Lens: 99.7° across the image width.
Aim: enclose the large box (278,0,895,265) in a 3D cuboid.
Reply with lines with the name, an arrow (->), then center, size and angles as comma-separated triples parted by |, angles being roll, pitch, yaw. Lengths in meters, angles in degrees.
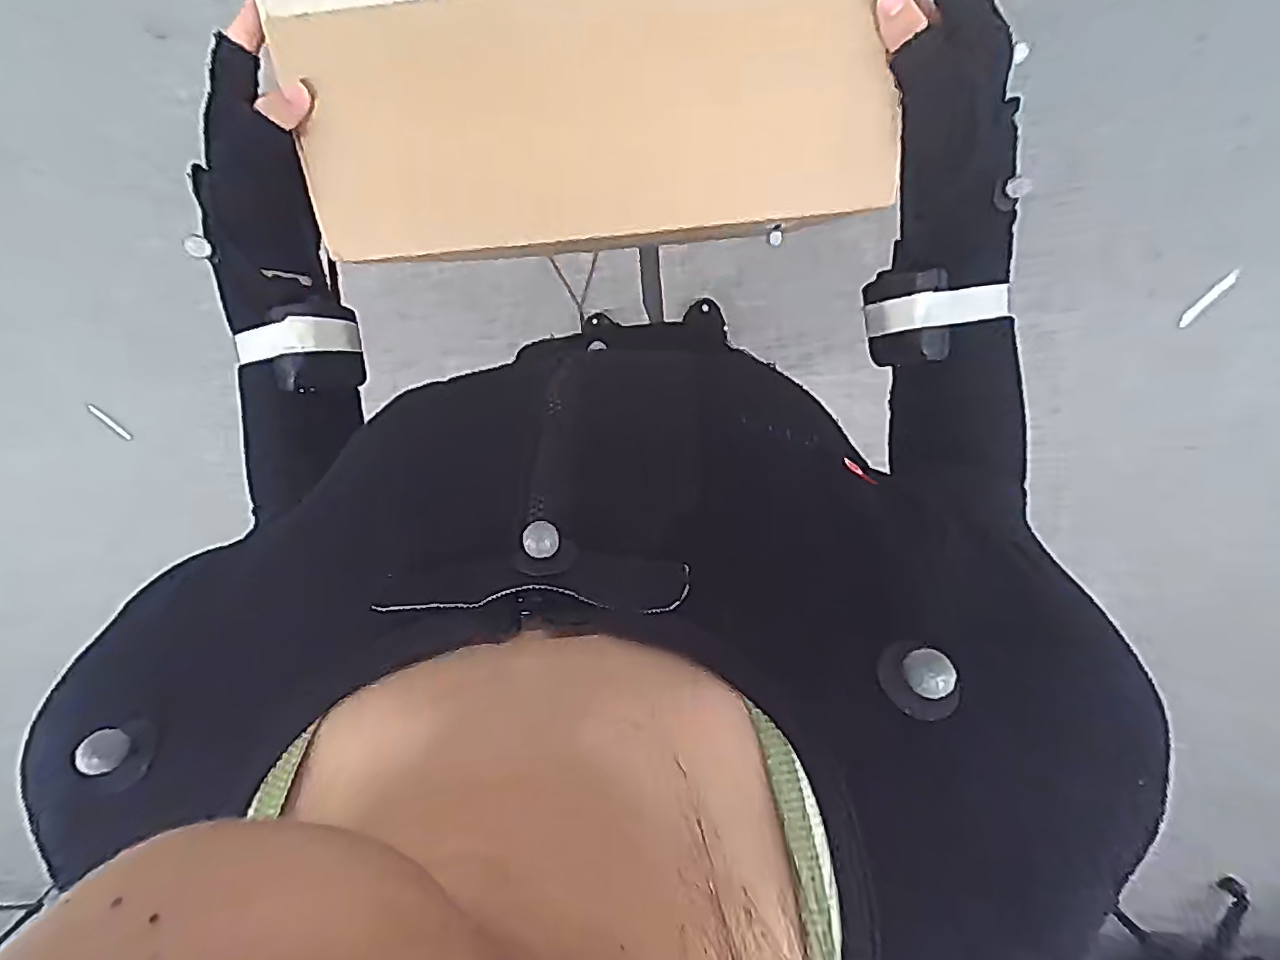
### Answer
large box -> -0.031, -0.378, 0.477 | 0.408, 0.320, 0.320 | -4, 111, 5
